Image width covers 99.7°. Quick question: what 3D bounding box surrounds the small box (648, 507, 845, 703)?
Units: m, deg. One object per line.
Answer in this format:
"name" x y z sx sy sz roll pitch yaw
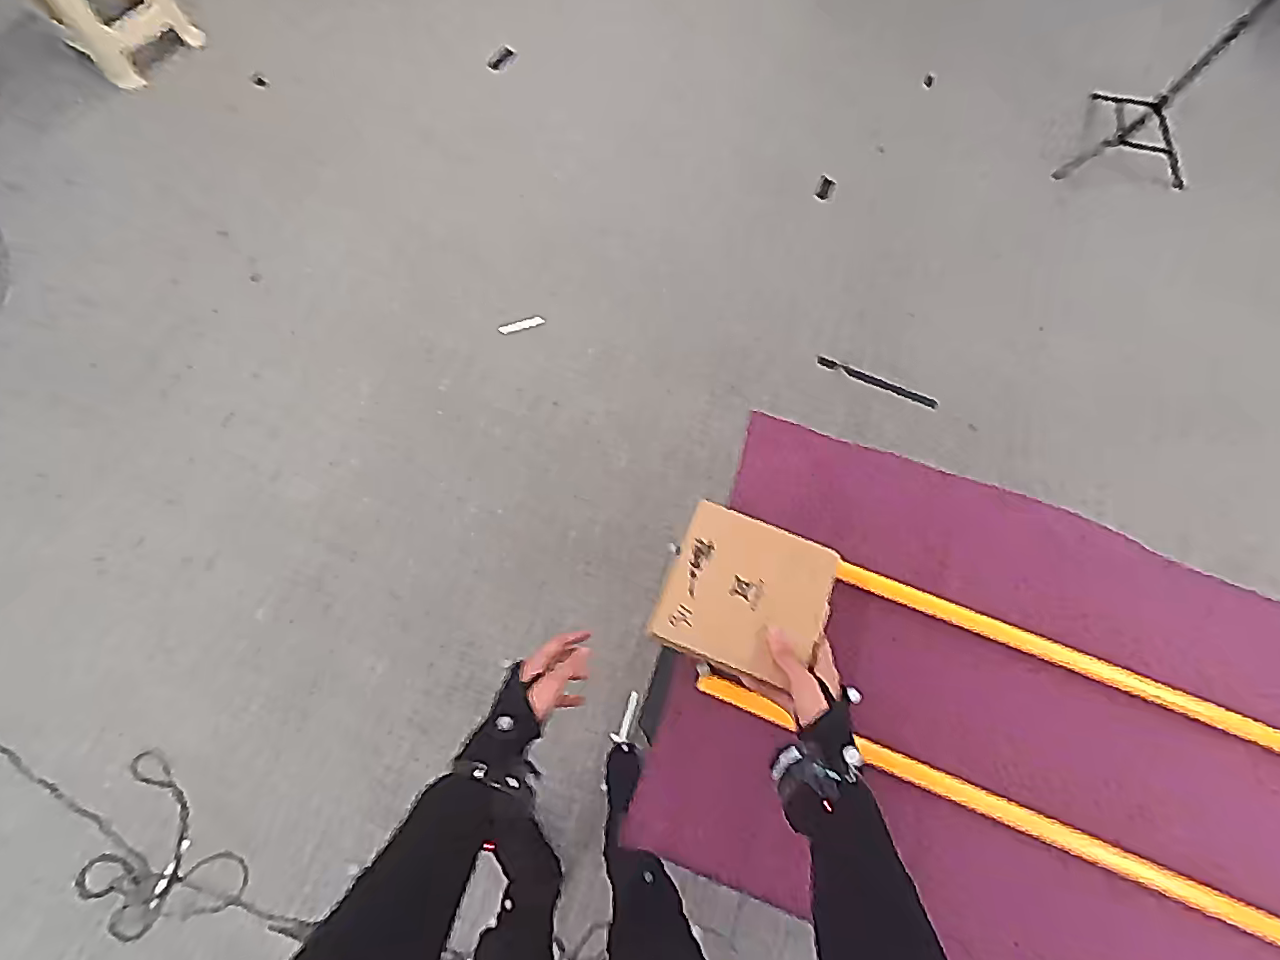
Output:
"small box" 0.121 0.156 0.677 0.179 0.176 0.168 23 73 5
